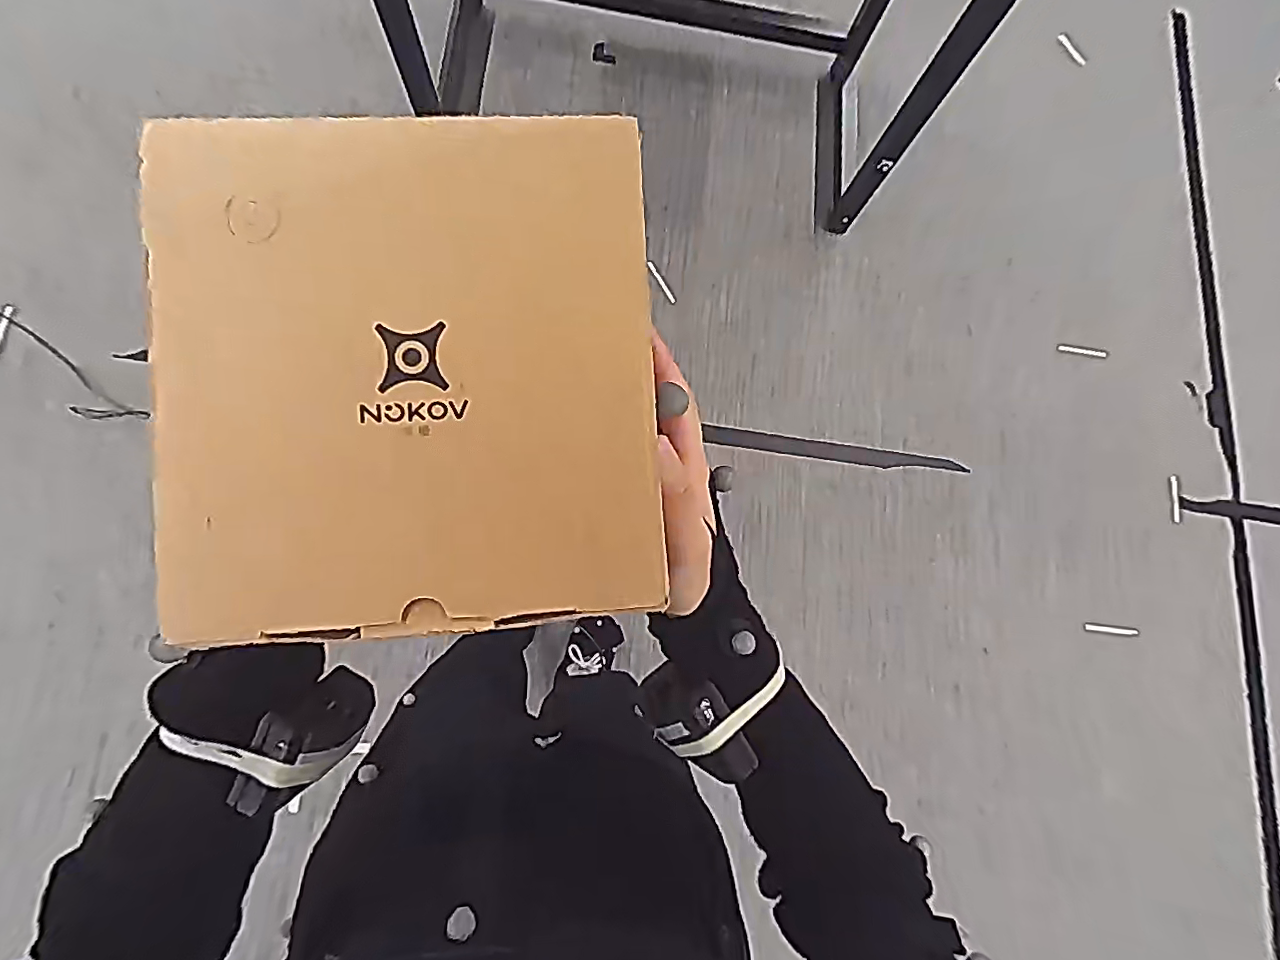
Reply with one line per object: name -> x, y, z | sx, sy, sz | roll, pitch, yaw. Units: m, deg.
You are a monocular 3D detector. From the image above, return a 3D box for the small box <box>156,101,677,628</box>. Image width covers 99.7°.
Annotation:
small box -> -0.079, -0.040, 0.262 | 0.168, 0.176, 0.179 | -4, 89, -4
